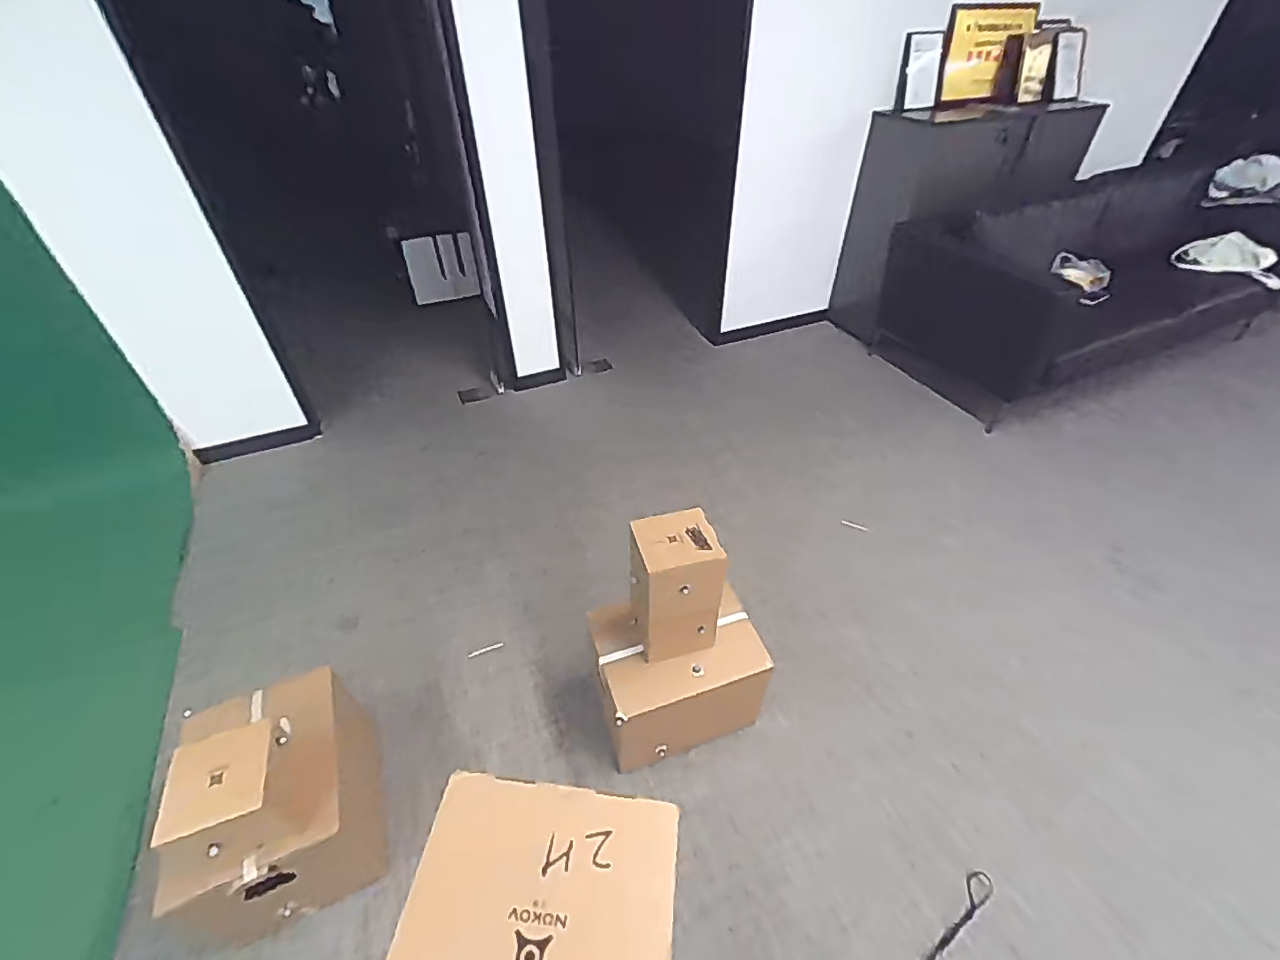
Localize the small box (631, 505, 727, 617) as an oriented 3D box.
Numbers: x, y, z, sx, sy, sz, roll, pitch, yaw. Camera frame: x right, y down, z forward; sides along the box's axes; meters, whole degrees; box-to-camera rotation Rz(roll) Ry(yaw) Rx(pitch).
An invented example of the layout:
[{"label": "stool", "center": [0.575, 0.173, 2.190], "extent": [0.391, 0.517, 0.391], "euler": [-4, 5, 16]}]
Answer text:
[{"label": "small box", "center": [0.082, 0.185, 1.231], "extent": [0.179, 0.176, 0.168], "euler": [-10, 40, -10]}]

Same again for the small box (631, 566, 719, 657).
[{"label": "small box", "center": [0.079, 0.309, 1.339], "extent": [0.179, 0.176, 0.168], "euler": [-11, 40, -12]}]

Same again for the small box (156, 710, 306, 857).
[{"label": "small box", "center": [-0.760, 0.582, 1.029], "extent": [0.168, 0.176, 0.179], "euler": [-14, 42, -17]}]

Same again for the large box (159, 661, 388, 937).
[{"label": "large box", "center": [-0.809, 0.718, 1.246], "extent": [0.320, 0.320, 0.408], "euler": [-18, 44, -18]}]

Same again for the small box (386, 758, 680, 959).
[{"label": "small box", "center": [-0.069, 0.332, 0.382], "extent": [0.168, 0.176, 0.179], "euler": [9, 41, 2]}]
